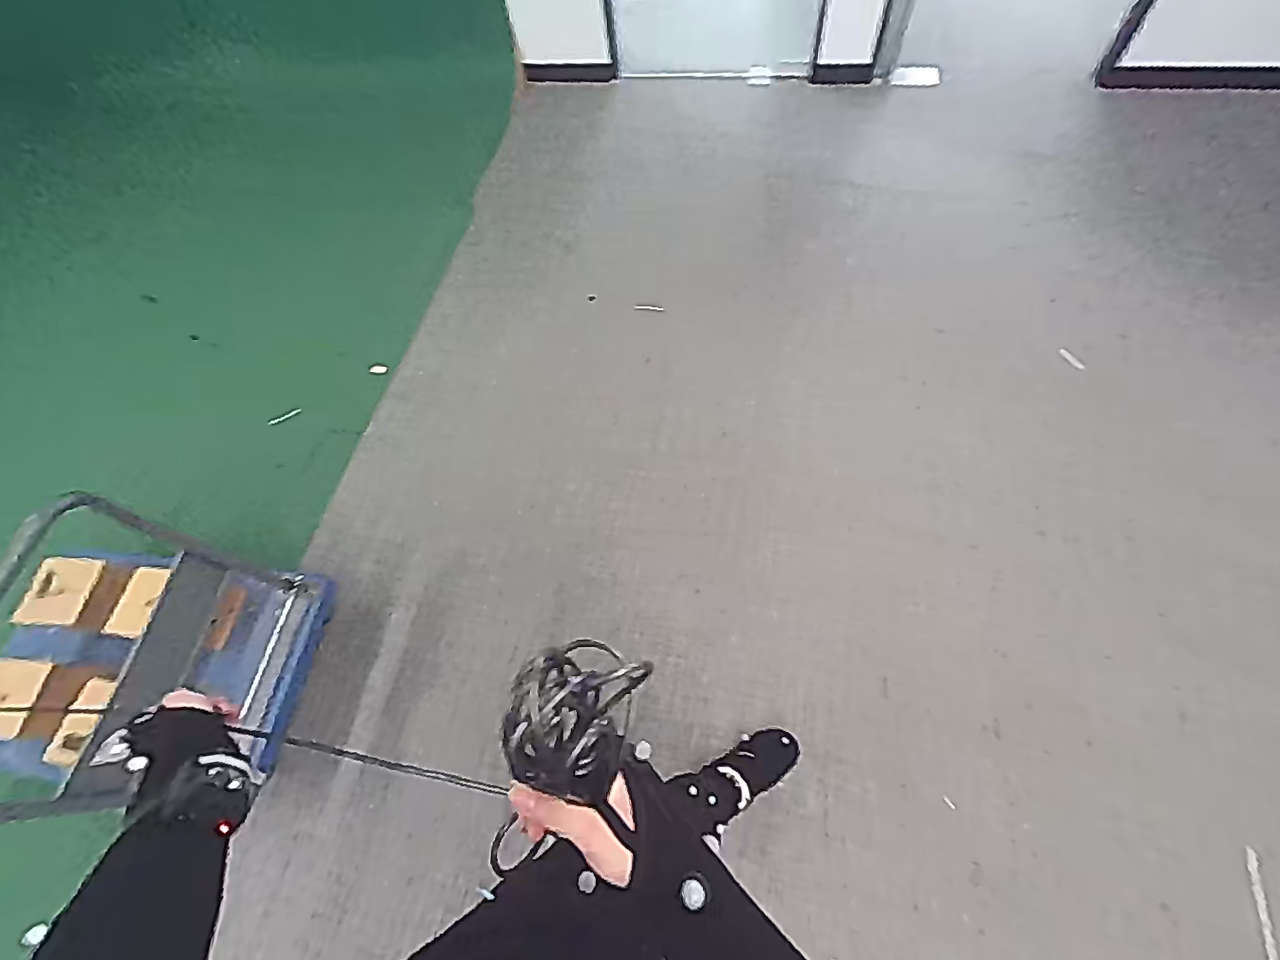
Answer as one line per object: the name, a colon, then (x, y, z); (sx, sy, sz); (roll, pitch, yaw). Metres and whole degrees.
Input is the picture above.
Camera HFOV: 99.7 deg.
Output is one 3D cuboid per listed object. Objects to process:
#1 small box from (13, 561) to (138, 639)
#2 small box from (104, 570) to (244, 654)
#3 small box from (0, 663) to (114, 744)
small box: (-1.449, 0.321, 1.428); (0.179, 0.176, 0.168); (1, 65, 7)
small box: (-1.183, 0.343, 1.389); (0.179, 0.176, 0.168); (6, 65, 9)
small box: (-1.466, 0.548, 1.320); (0.179, 0.176, 0.168); (1, 64, 7)
